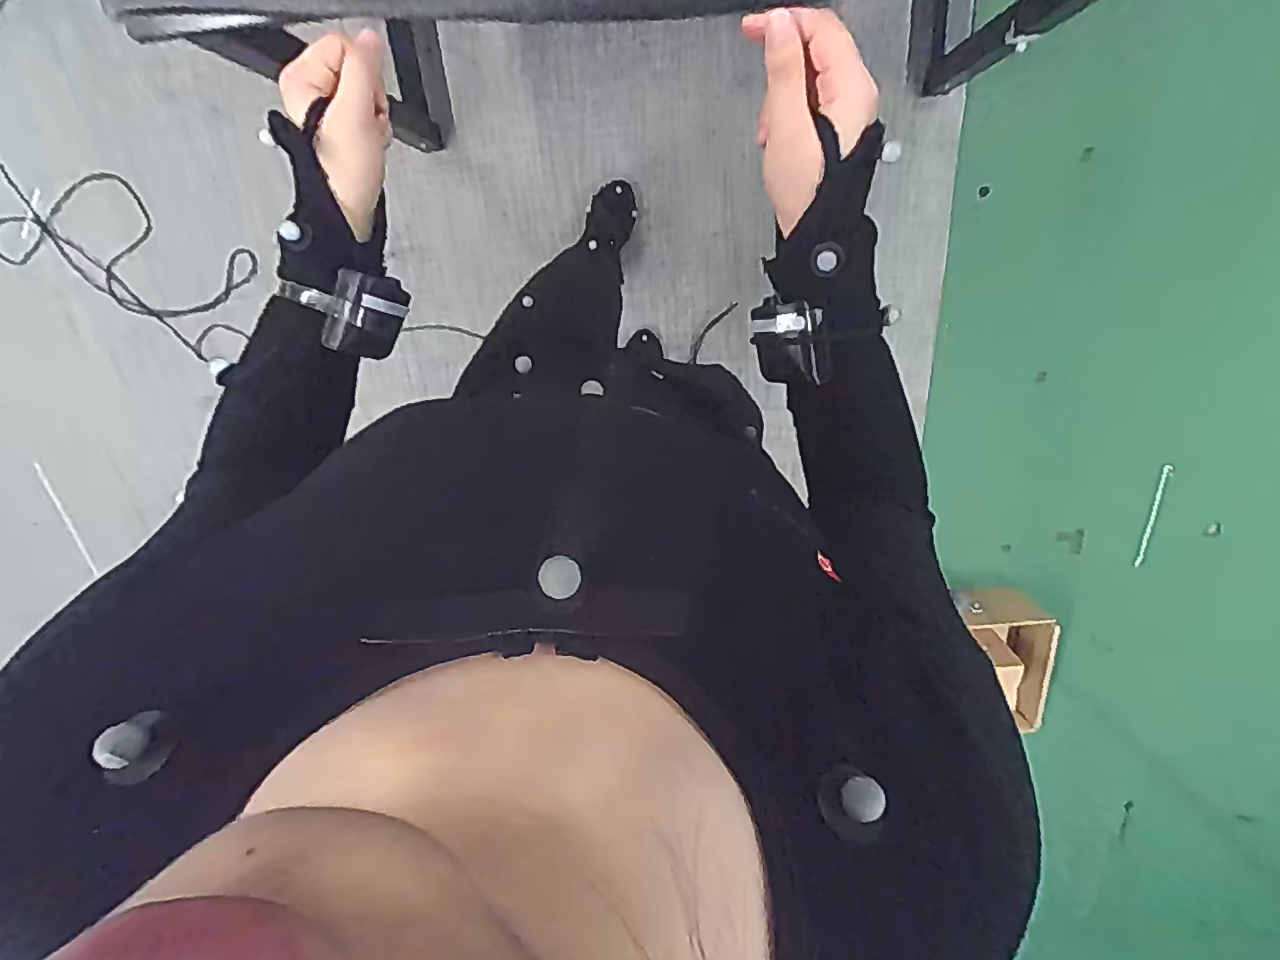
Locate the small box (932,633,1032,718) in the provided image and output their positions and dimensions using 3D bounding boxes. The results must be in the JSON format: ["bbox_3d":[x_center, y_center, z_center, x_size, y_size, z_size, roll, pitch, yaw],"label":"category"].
[{"bbox_3d":[0.973,0.556,1.553,0.179,0.176,0.168,-4,112,5],"label":"small box"}]
